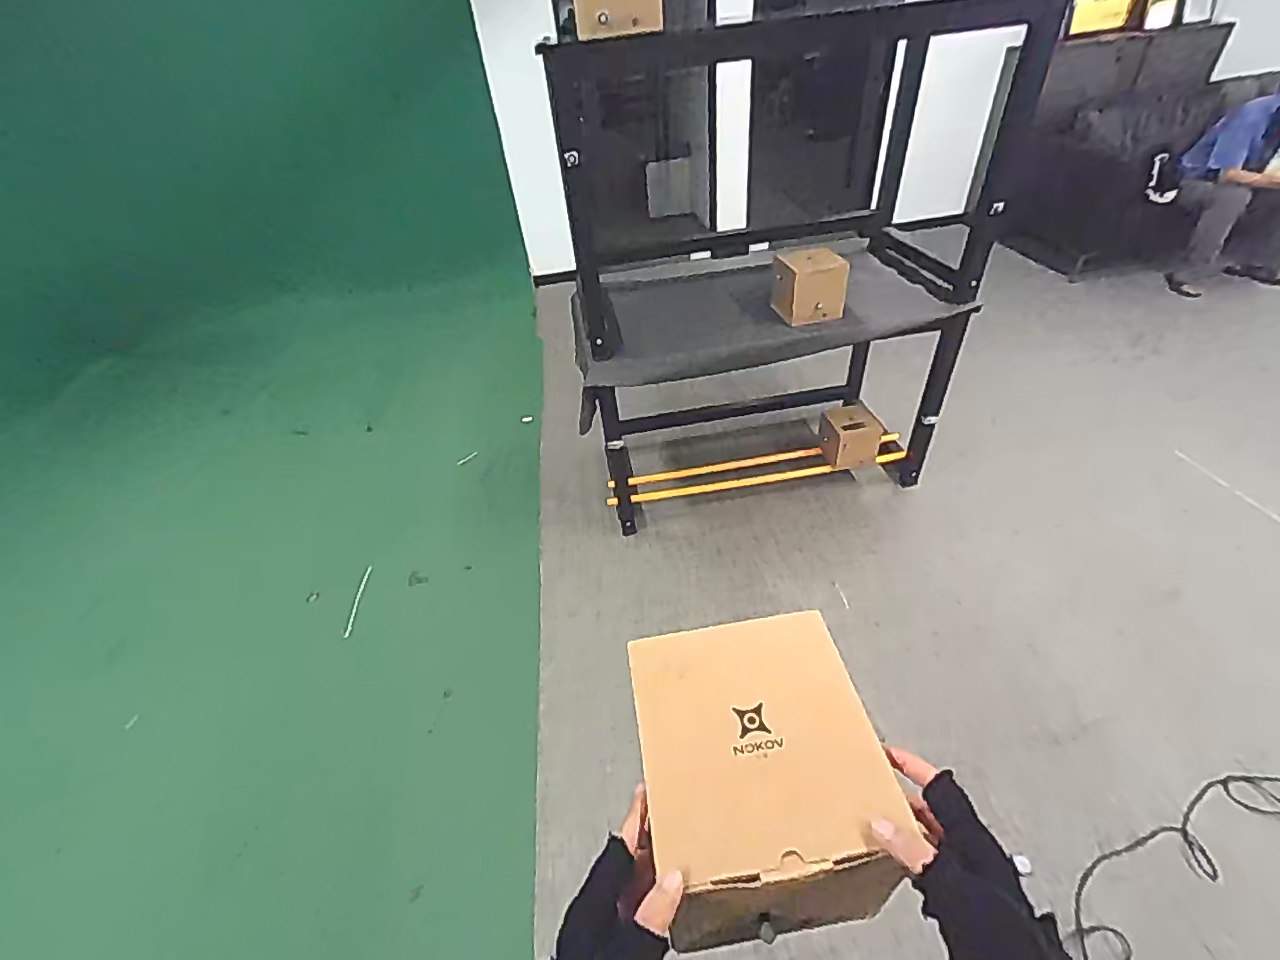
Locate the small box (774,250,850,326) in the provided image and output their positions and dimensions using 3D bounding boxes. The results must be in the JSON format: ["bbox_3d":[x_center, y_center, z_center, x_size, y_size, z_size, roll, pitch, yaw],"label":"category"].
[{"bbox_3d":[0.524,-0.596,1.681,0.168,0.176,0.179,-11,40,-5],"label":"small box"}]

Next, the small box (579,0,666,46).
[{"bbox_3d":[-0.044,-1.074,1.189,0.168,0.176,0.179,-12,40,-7],"label":"small box"}]
